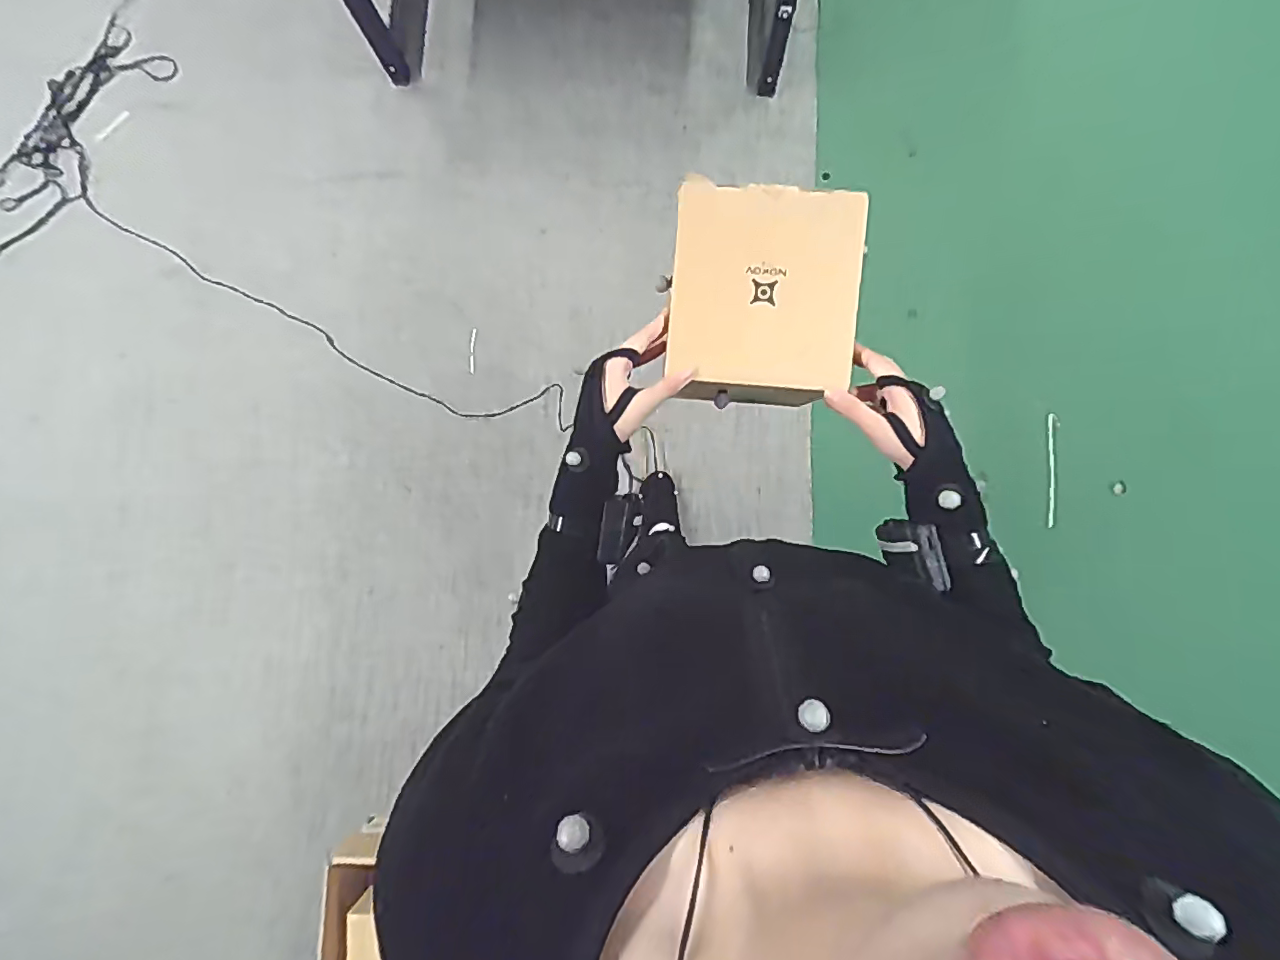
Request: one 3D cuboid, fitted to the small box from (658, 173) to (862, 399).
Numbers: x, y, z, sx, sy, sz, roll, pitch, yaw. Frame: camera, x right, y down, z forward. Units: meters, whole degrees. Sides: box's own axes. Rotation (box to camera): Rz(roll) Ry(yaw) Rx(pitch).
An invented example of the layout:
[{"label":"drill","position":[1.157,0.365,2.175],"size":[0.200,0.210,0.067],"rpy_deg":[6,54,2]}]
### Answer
[{"label":"small box","position":[0.109,-0.180,0.553],"size":[0.168,0.176,0.179],"rpy_deg":[4,92,3]}]
